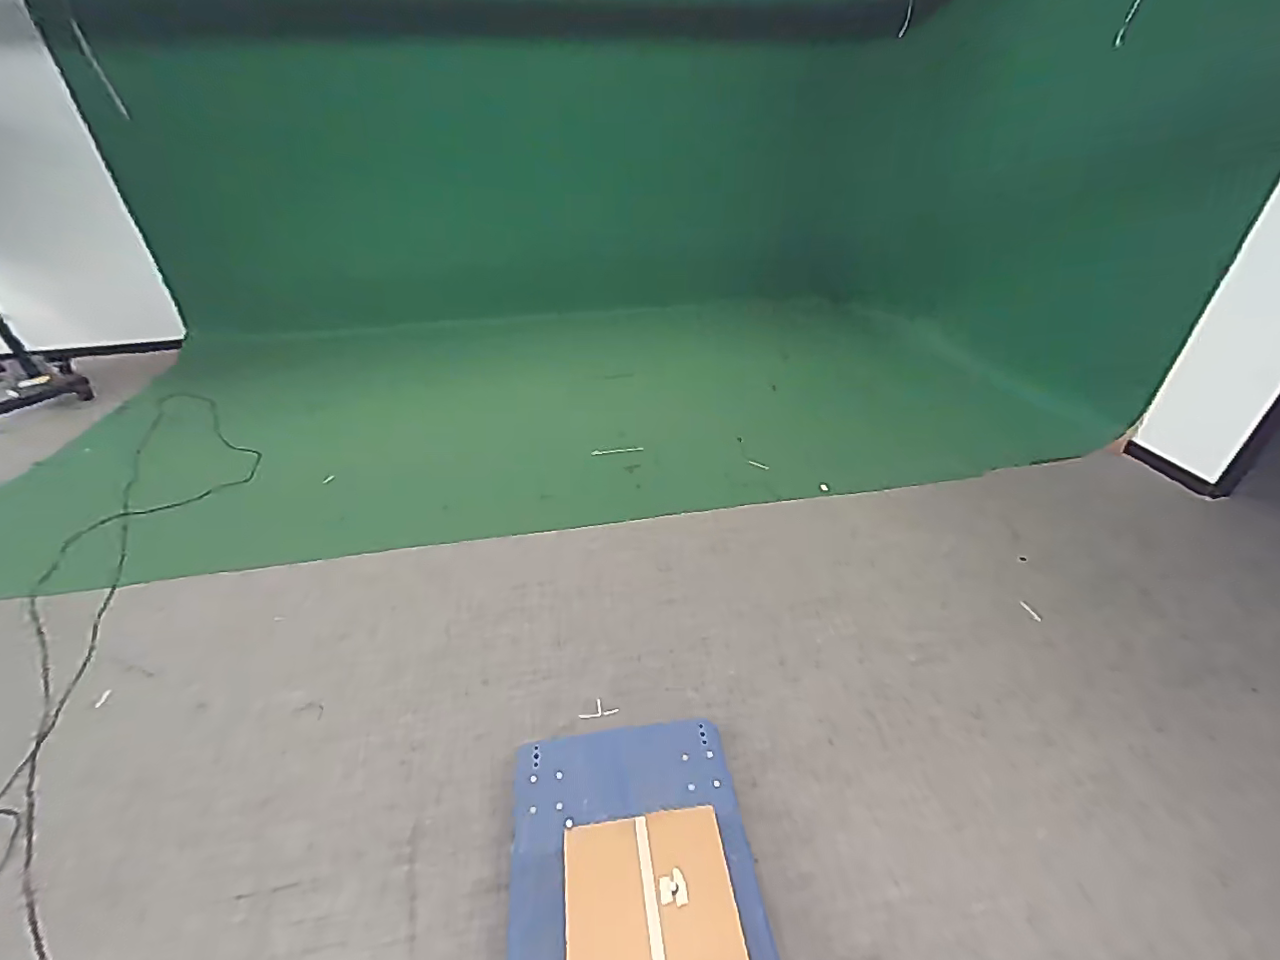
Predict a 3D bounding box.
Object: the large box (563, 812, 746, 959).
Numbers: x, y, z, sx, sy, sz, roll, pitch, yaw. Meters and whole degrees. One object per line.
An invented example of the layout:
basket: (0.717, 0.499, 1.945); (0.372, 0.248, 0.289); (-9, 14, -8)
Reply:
large box: (0.028, 0.945, 1.041); (0.320, 0.320, 0.408); (-5, 34, -6)
